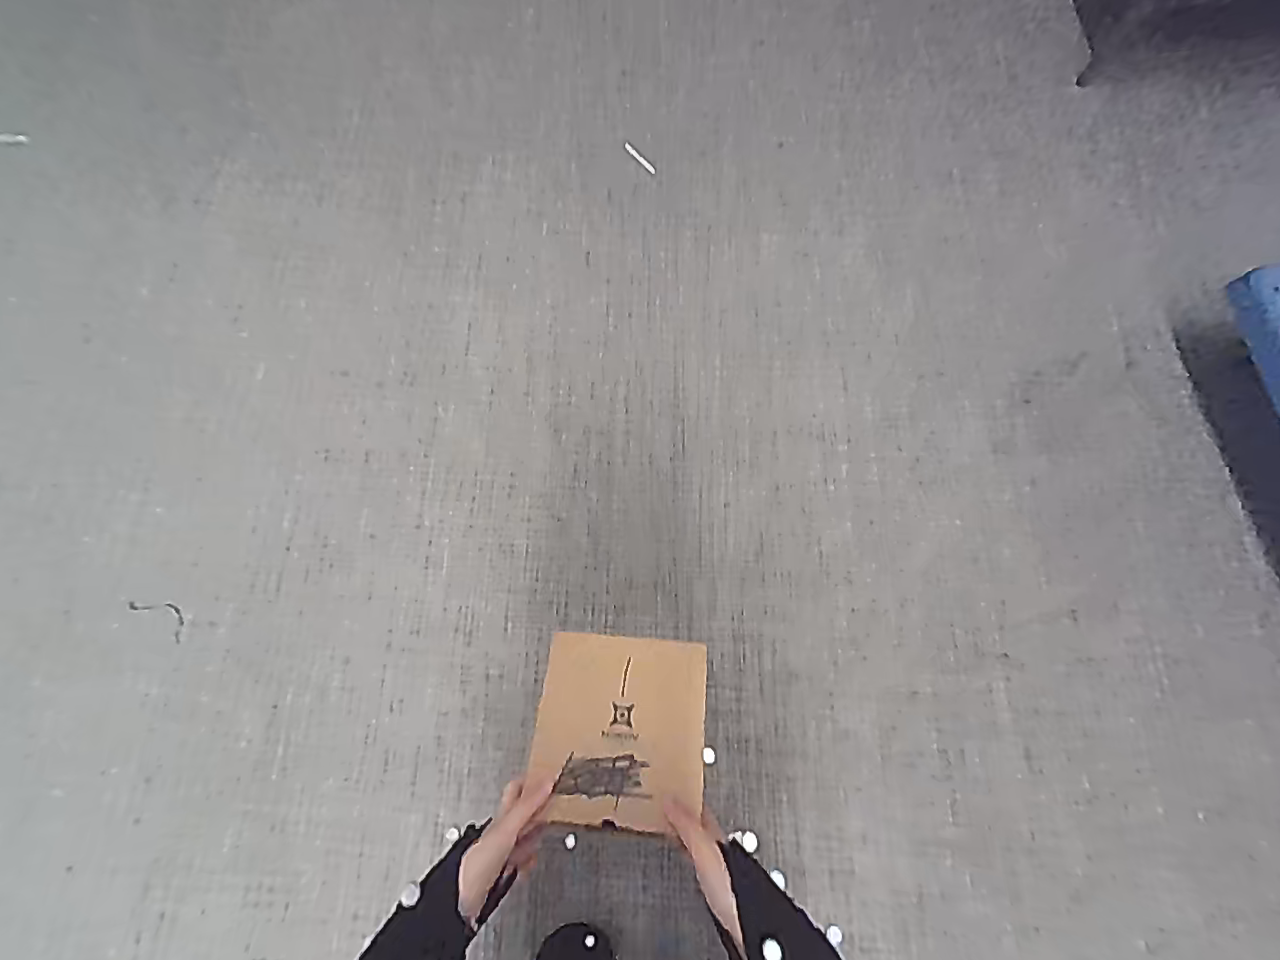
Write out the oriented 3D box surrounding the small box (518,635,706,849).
[{"bbox_3d":[-0.018,0.288,0.588,0.168,0.176,0.179,4,55,5],"label":"small box"}]
